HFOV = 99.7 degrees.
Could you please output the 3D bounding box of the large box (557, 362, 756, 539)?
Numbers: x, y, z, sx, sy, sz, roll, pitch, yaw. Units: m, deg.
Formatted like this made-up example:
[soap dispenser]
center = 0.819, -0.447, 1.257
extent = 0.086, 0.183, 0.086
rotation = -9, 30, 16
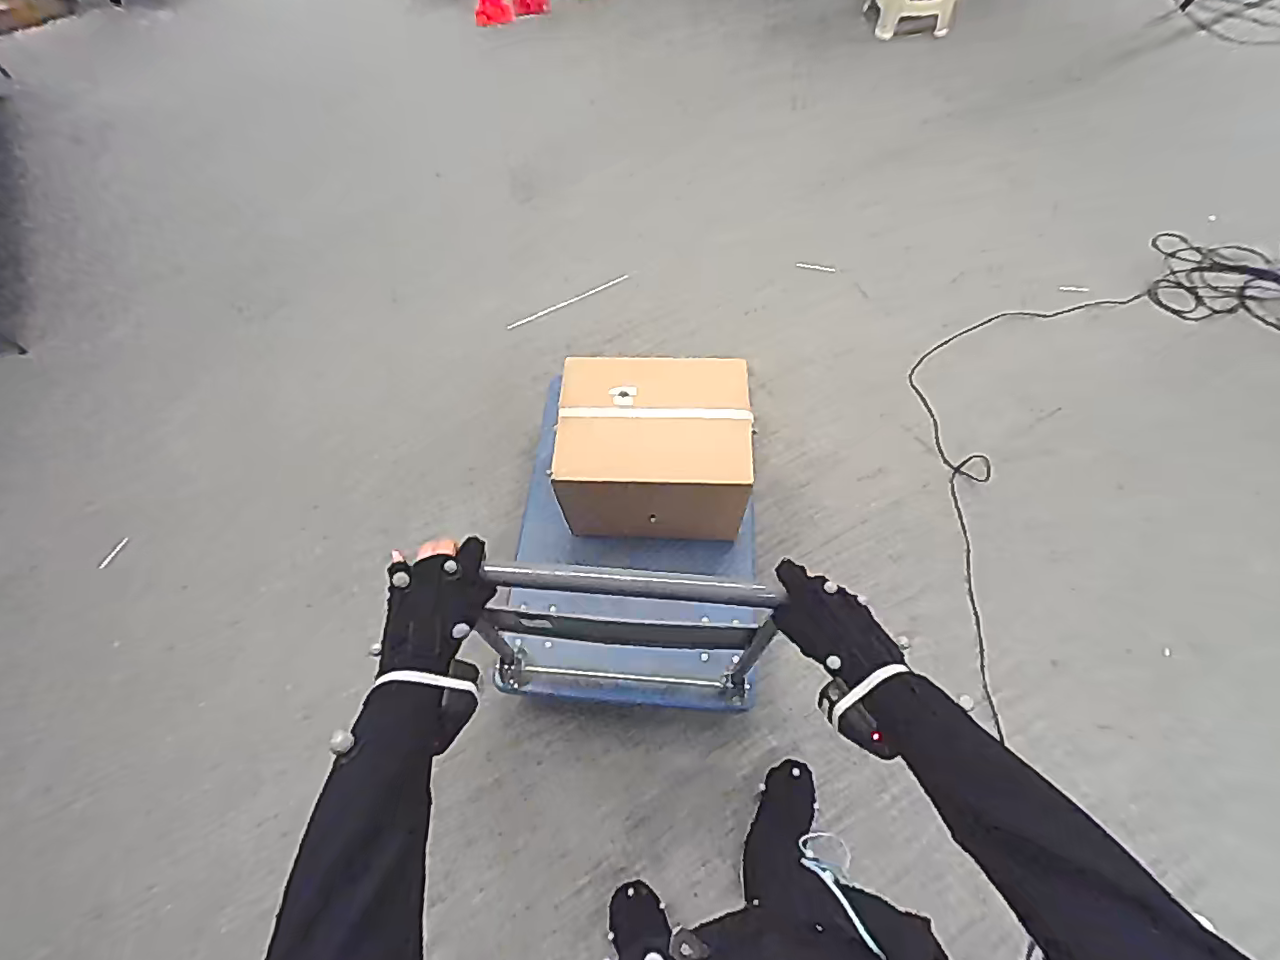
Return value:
[large box]
center = 0.042, -0.056, 1.275
extent = 0.408, 0.320, 0.320
rotation = 0, 62, 3
